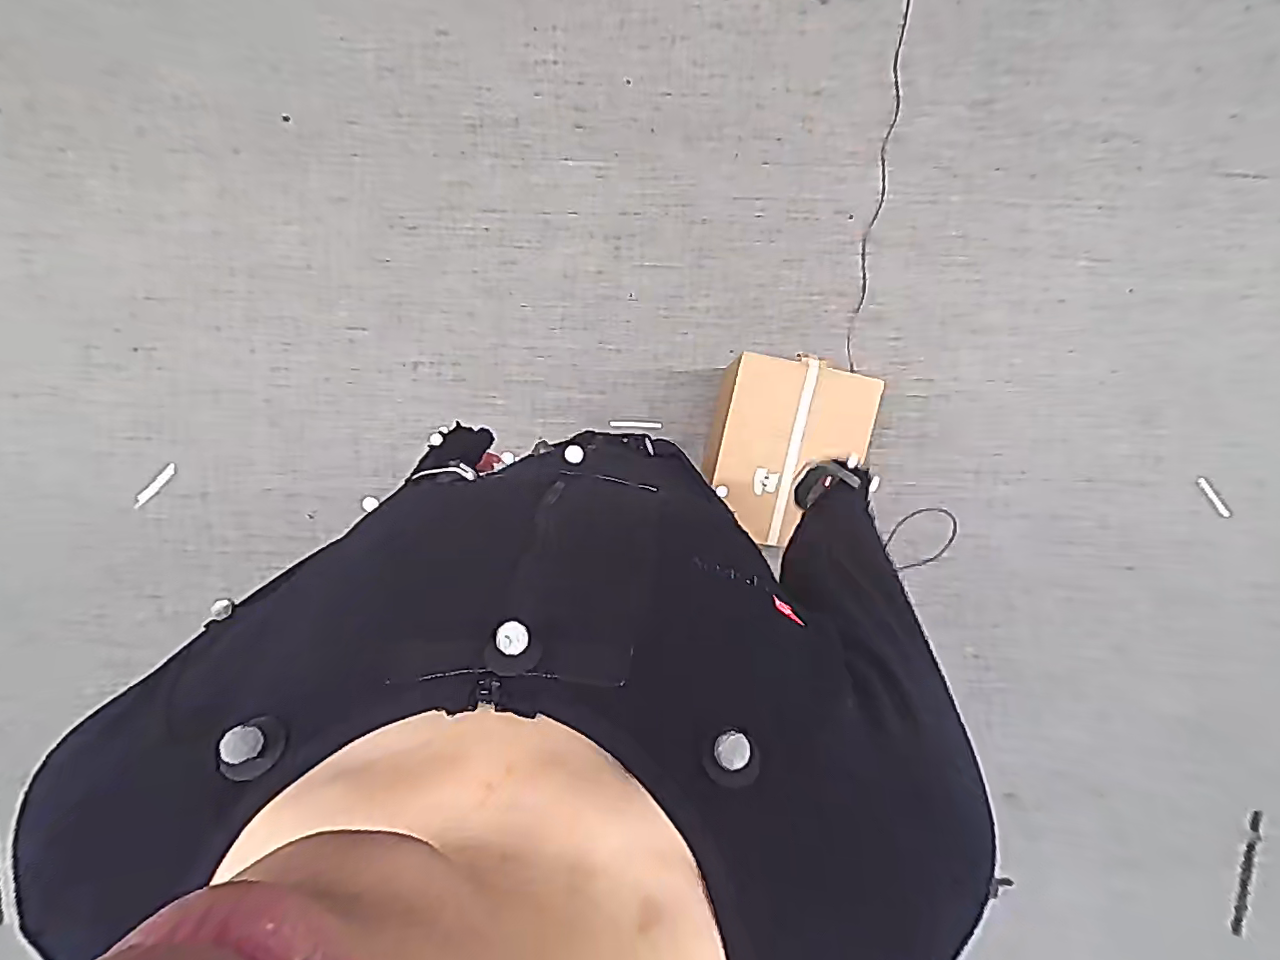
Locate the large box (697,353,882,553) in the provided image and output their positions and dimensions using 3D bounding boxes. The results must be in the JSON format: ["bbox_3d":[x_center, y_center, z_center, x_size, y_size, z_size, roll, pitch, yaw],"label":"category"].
[{"bbox_3d":[0.343,-0.075,1.344,0.320,0.320,0.408,13,97,0],"label":"large box"}]
